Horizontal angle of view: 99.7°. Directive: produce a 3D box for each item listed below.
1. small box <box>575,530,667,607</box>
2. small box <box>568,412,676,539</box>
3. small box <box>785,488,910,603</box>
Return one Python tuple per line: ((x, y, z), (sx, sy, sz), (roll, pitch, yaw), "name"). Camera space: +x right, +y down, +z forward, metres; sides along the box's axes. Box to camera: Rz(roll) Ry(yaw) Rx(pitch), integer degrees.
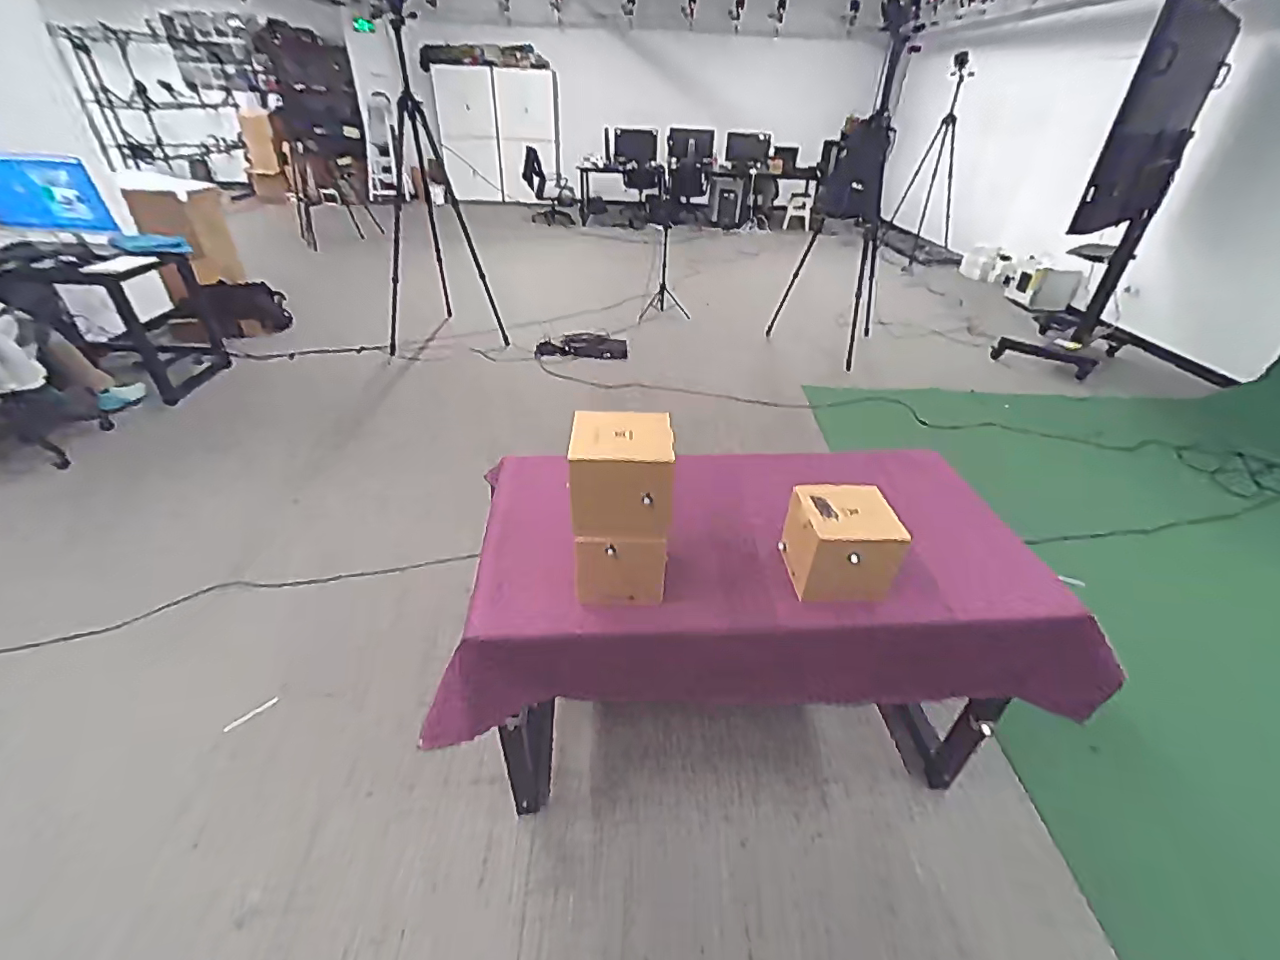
((-0.037, 0.127, 1.064), (0.168, 0.176, 0.179), (0, 34, -2), "small box")
((-0.031, -0.007, 0.970), (0.179, 0.176, 0.168), (1, 34, -1), "small box")
((0.399, 0.131, 1.082), (0.179, 0.176, 0.168), (1, 35, -3), "small box")
